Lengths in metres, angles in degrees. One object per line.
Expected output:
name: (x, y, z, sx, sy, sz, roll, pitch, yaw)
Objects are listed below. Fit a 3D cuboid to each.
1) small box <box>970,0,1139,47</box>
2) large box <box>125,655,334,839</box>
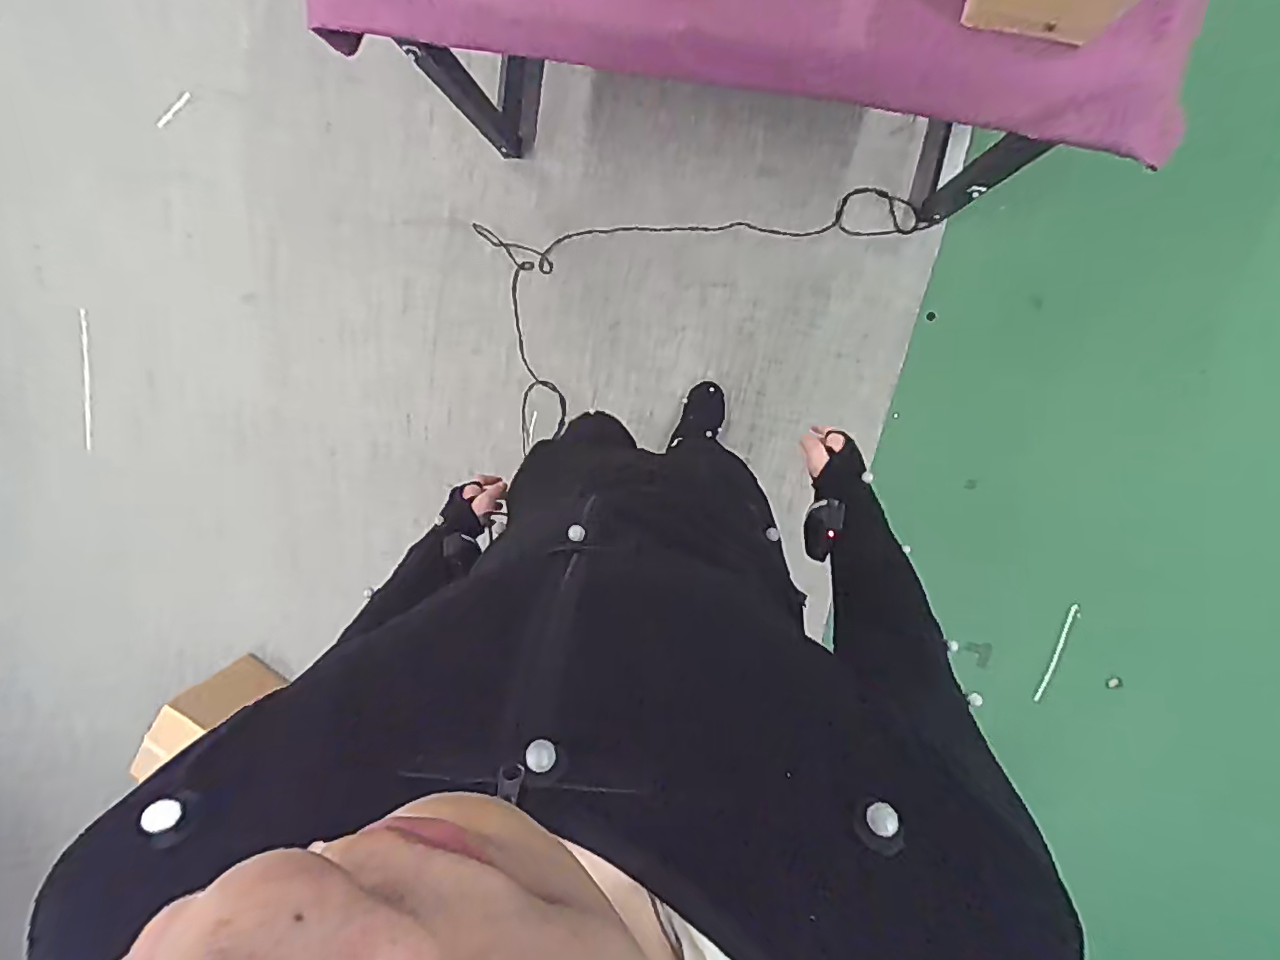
small box: (0.509, -0.645, 0.606, 0.168, 0.176, 0.179, 14, 100, 5)
large box: (-1.344, 0.869, 1.801, 0.408, 0.320, 0.320, 35, 103, -2)
